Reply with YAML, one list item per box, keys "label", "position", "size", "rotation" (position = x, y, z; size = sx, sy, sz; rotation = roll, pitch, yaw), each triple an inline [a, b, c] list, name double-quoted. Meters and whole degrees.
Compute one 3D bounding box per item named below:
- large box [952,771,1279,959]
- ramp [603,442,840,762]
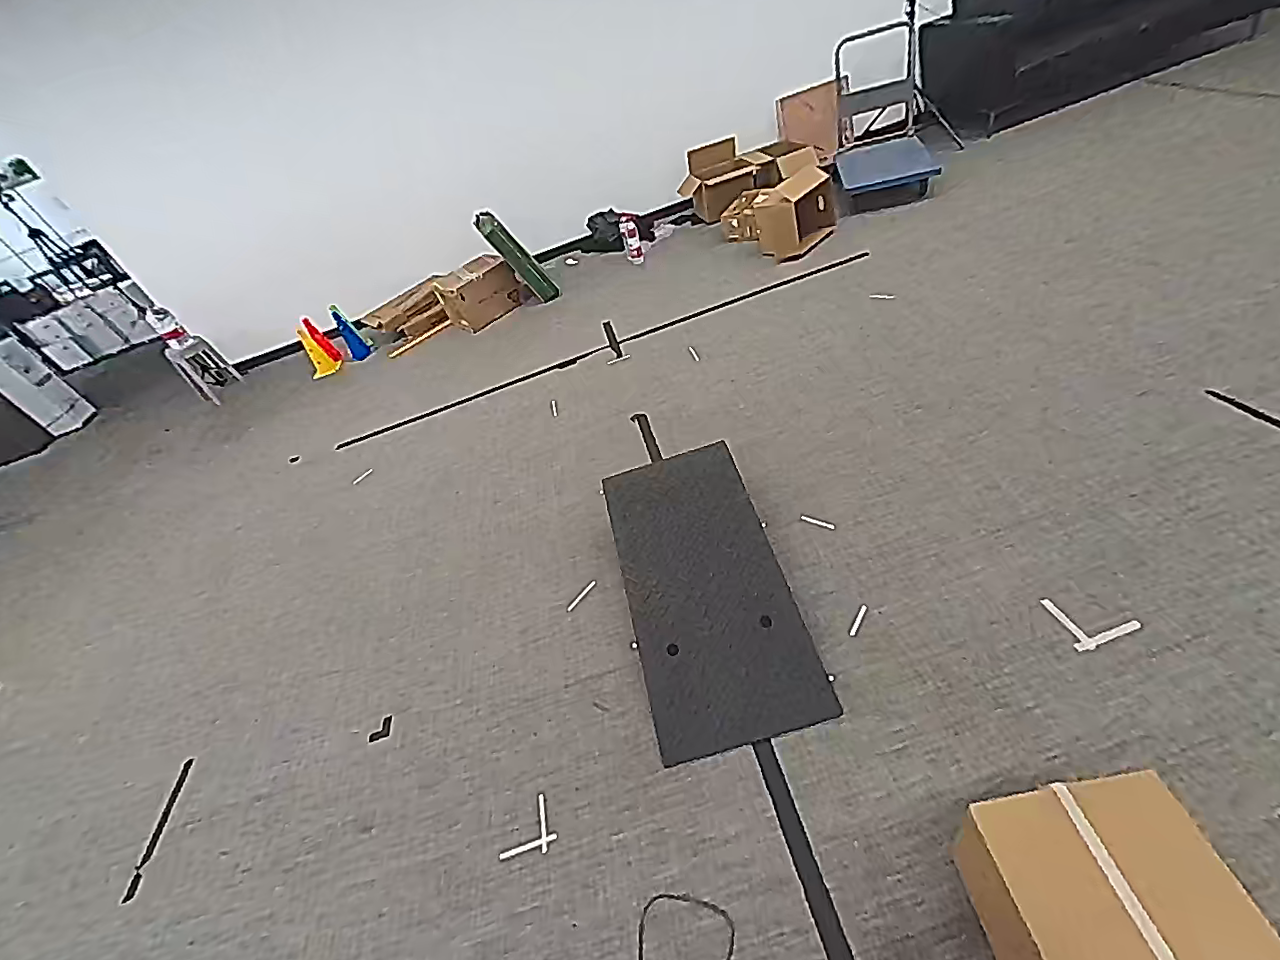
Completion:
- label: "large box"
  position: [0.786, 0.769, 0.889]
  size: [0.320, 0.320, 0.408]
  rotation: [-16, 41, 7]
- label: "ramp"
  position: [0.197, 0.306, 1.733]
  size: [0.509, 0.206, 0.991]
  rotation: [-19, 41, 1]
